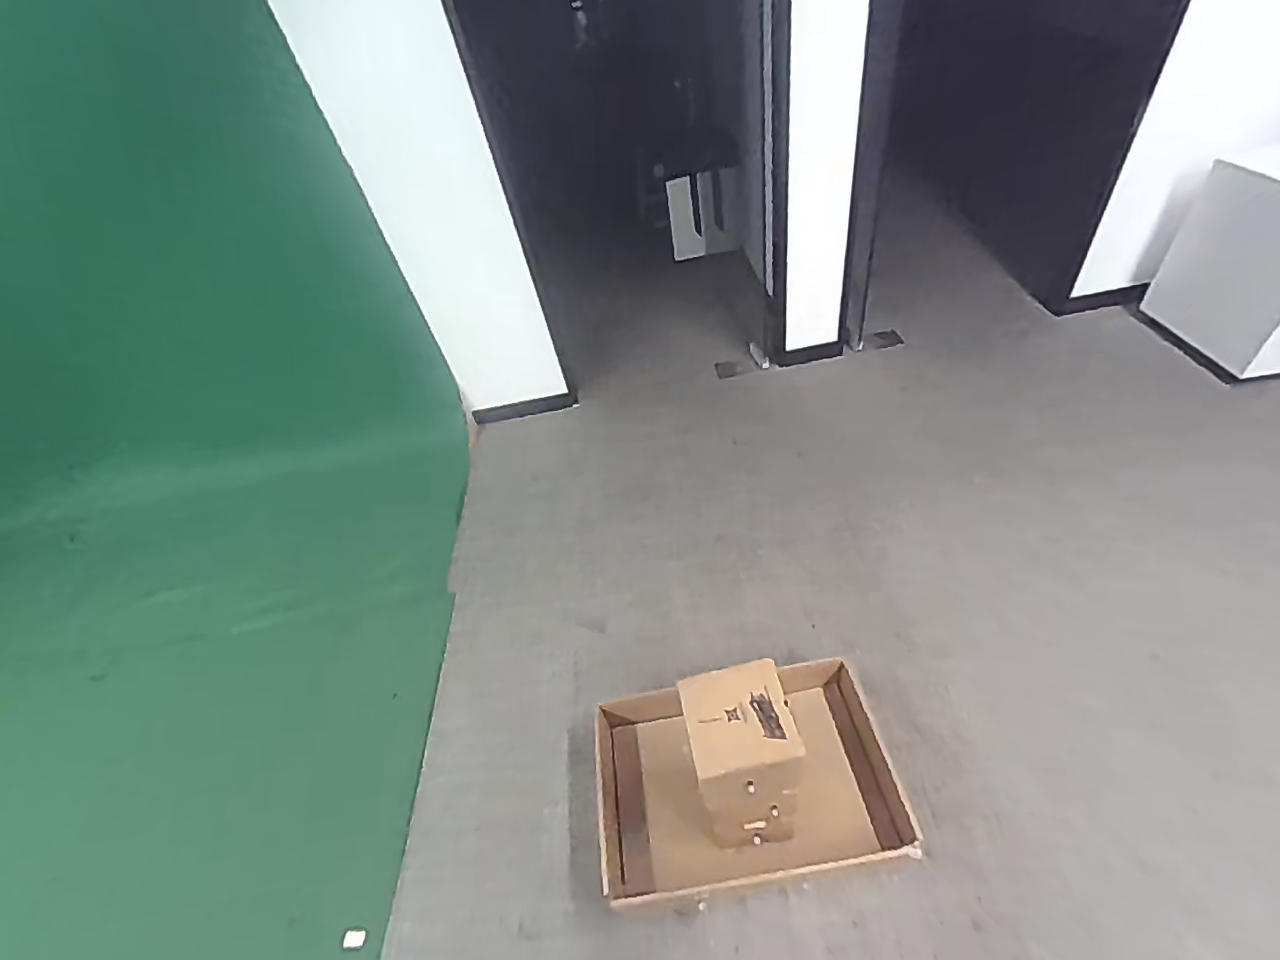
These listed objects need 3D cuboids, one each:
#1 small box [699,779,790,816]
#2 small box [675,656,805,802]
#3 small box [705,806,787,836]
[{"bbox_3d":[0.195,0.548,1.074,0.168,0.176,0.179,-10,44,3],"label":"small box"},{"bbox_3d":[0.170,0.440,0.953,0.179,0.176,0.168,-14,45,-2],"label":"small box"},{"bbox_3d":[0.223,0.662,1.186,0.168,0.176,0.179,-10,45,5],"label":"small box"}]
